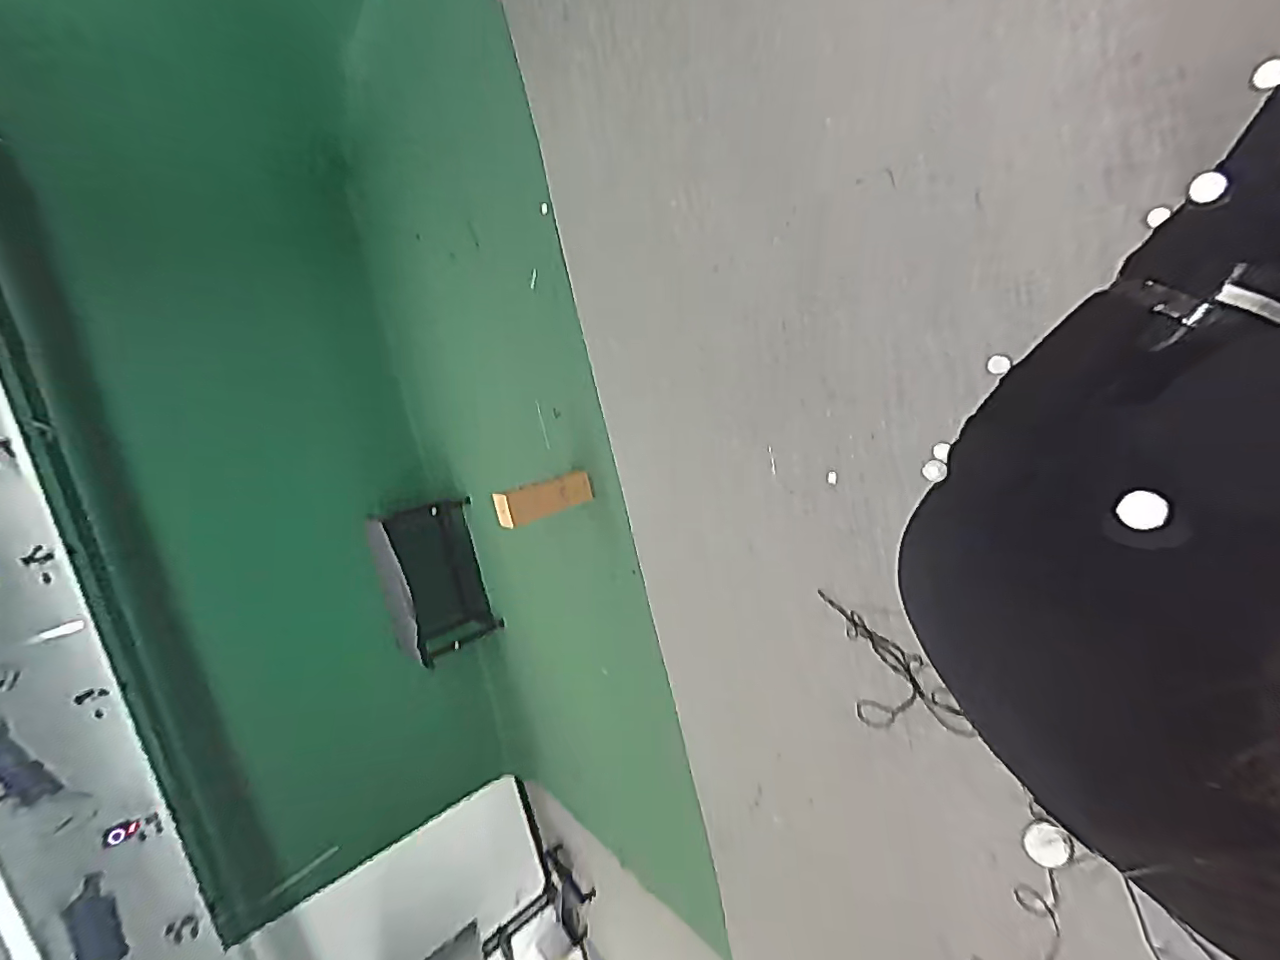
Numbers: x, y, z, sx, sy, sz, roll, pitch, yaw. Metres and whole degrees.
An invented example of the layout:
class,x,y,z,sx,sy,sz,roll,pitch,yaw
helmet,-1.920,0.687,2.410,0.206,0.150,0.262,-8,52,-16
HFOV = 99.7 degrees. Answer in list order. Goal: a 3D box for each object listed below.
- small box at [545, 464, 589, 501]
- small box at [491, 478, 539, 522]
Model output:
class,x,y,z,sx,sy,sz,roll,pitch,yaw
small box,-0.399,0.010,3.014,0.179,0.176,0.168,0,107,53
small box,-0.646,0.102,2.818,0.168,0.176,0.179,3,110,51
